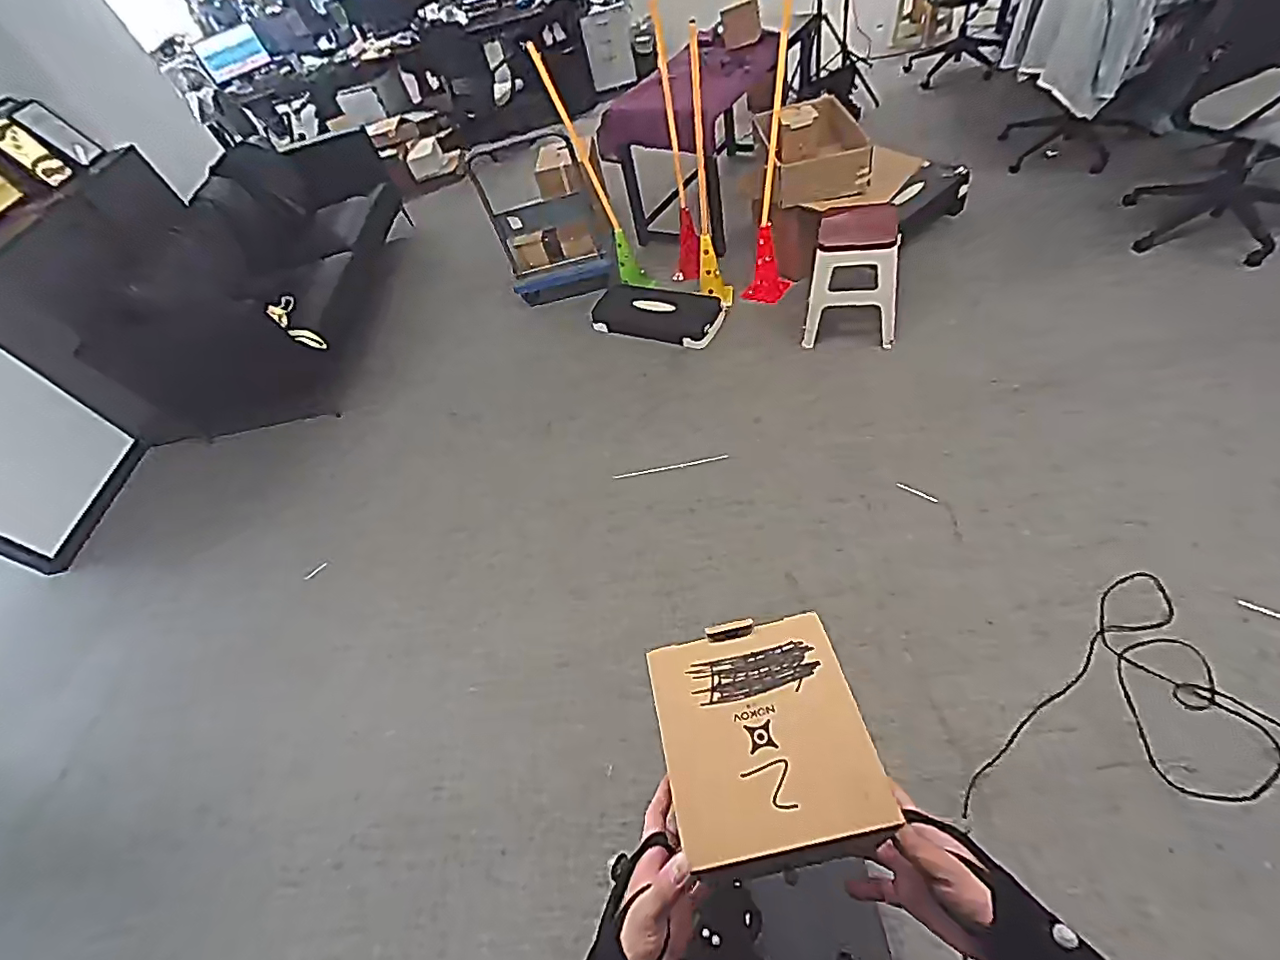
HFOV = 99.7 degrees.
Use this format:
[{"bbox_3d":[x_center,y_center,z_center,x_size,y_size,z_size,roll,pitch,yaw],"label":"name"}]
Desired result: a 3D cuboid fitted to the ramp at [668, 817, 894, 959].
[{"bbox_3d":[0.316,1.232,1.037,0.509,0.206,0.991,-12,50,8],"label":"ramp"}]
